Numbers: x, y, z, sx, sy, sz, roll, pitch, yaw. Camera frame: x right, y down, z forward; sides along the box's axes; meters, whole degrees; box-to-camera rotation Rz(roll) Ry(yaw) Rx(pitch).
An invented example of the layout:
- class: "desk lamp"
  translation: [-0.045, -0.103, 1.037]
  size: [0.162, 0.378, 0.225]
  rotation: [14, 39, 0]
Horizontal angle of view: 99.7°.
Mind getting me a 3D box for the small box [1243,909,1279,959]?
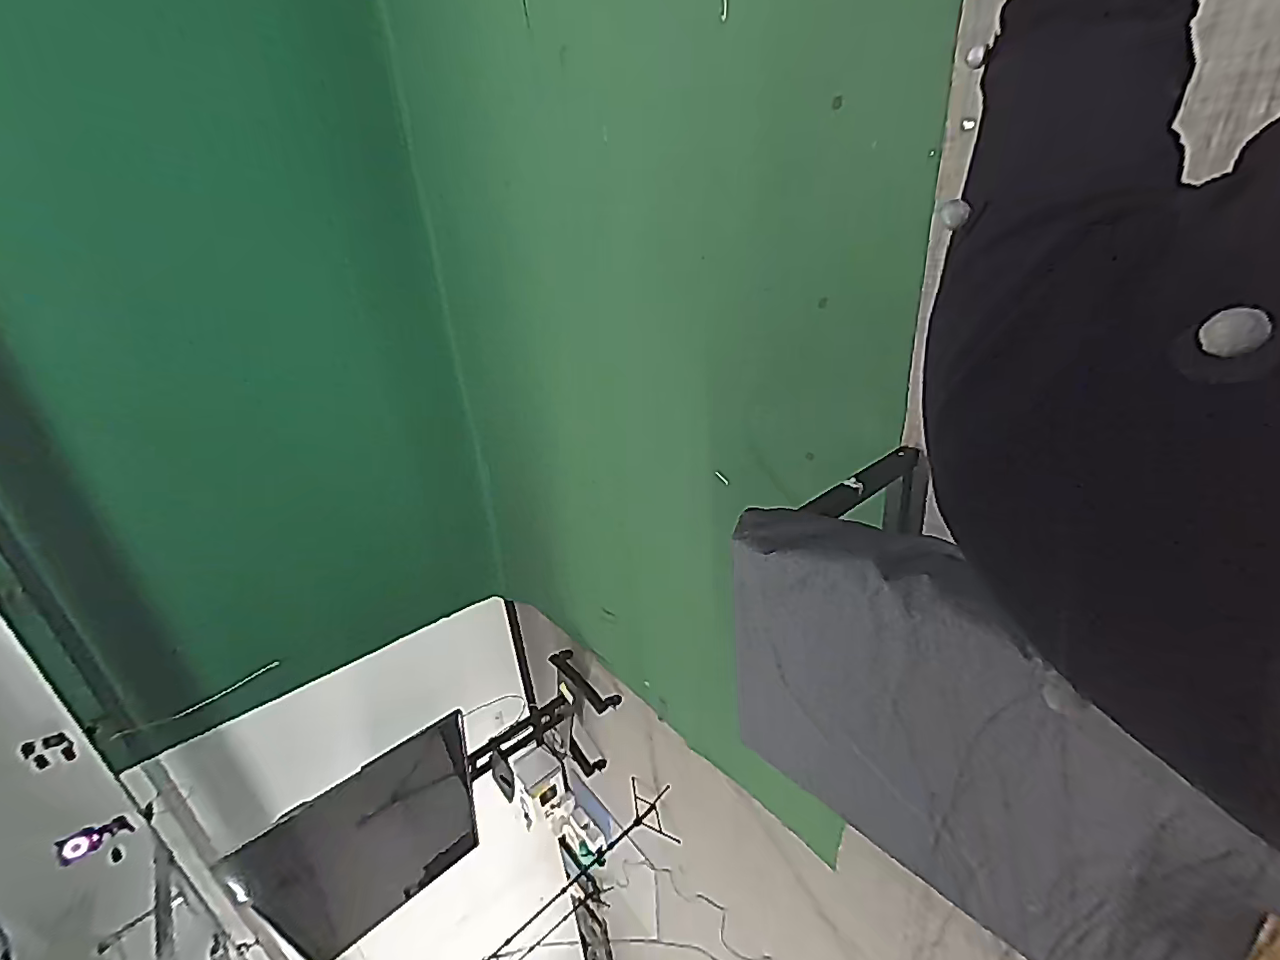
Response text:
- class: "small box"
  translation: [0.757, 0.621, 0.571]
  size: [0.168, 0.176, 0.179]
  rotation: [17, 123, 48]
